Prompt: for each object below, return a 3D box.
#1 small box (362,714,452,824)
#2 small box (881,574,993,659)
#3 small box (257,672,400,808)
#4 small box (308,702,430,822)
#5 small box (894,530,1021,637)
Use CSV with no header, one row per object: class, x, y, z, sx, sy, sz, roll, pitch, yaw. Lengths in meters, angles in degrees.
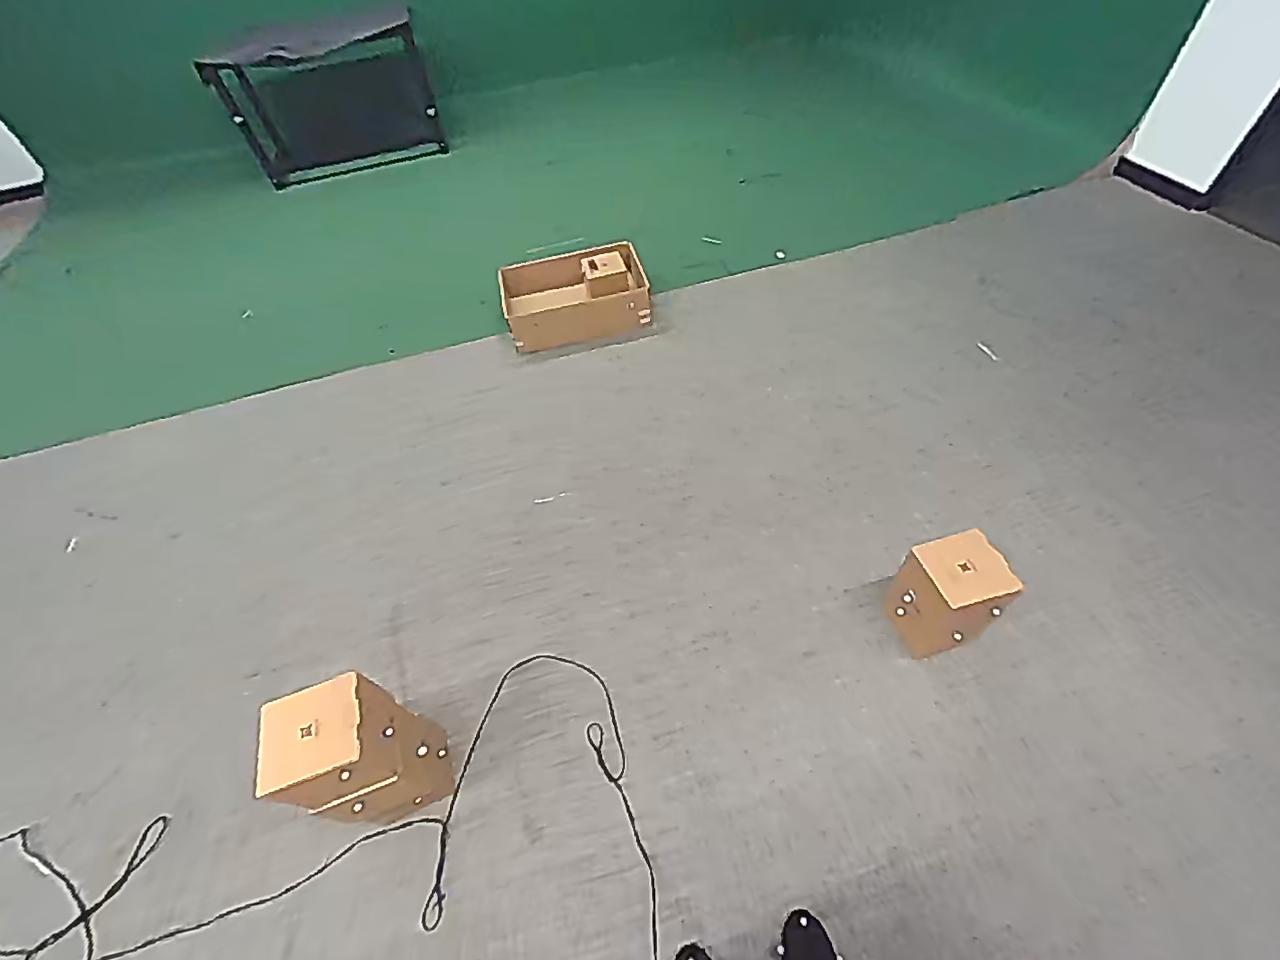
small box,-0.568,0.696,1.298,0.179,0.176,0.168,-22,52,-10
small box,0.763,0.341,1.415,0.168,0.176,0.179,-15,52,-5
small box,-0.588,0.502,1.036,0.179,0.176,0.168,-19,53,-9
small box,-0.575,0.607,1.160,0.179,0.176,0.168,-18,53,-9
small box,0.740,0.248,1.282,0.179,0.176,0.168,-16,51,-4
